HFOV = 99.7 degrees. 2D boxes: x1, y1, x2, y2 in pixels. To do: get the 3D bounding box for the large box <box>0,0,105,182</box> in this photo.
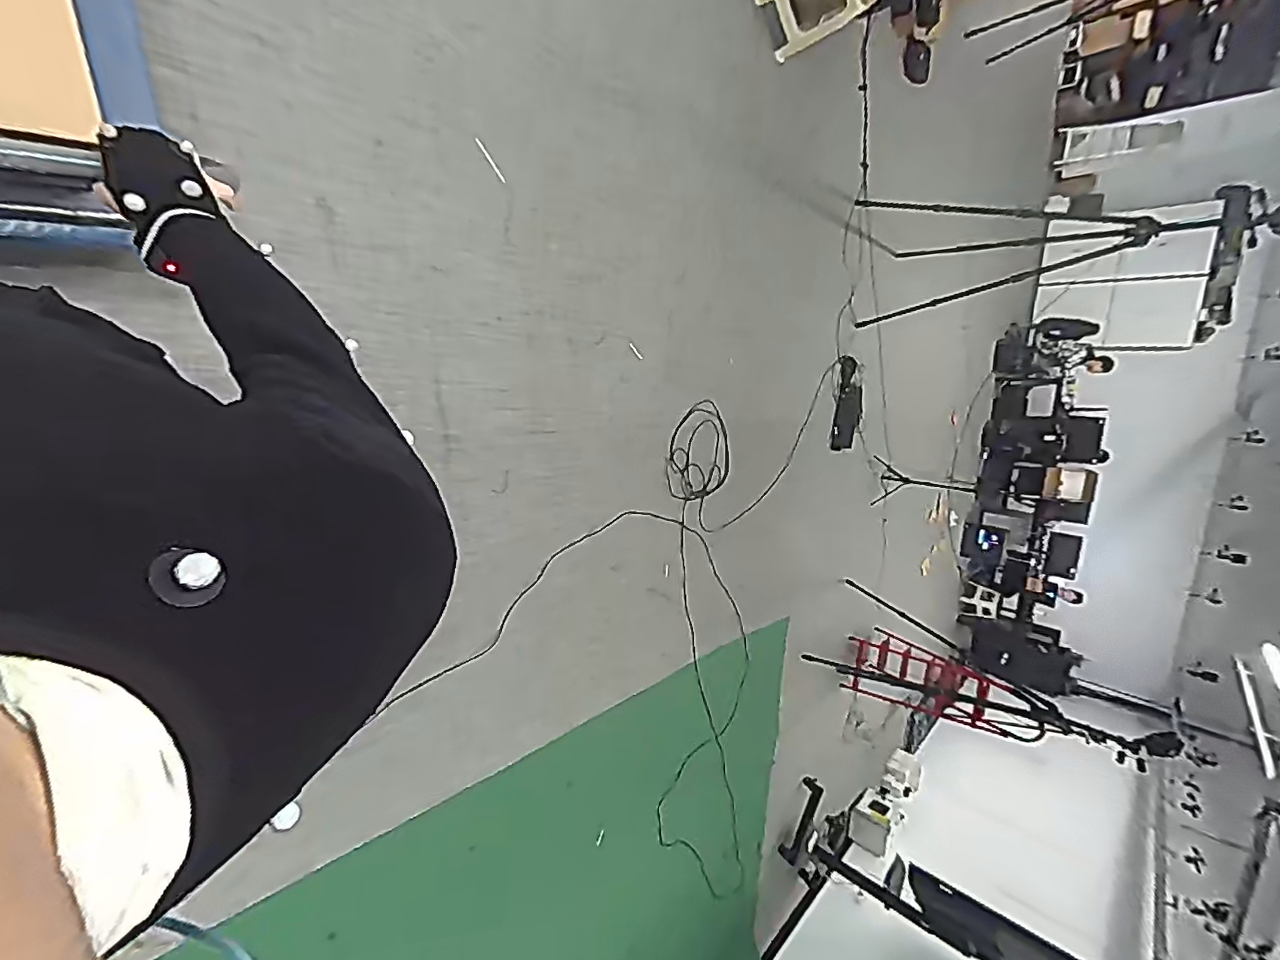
[{"bbox_3d":[-1.018,-0.682,0.751,0.320,0.320,0.408,-18,112,-43],"label":"large box"}]
